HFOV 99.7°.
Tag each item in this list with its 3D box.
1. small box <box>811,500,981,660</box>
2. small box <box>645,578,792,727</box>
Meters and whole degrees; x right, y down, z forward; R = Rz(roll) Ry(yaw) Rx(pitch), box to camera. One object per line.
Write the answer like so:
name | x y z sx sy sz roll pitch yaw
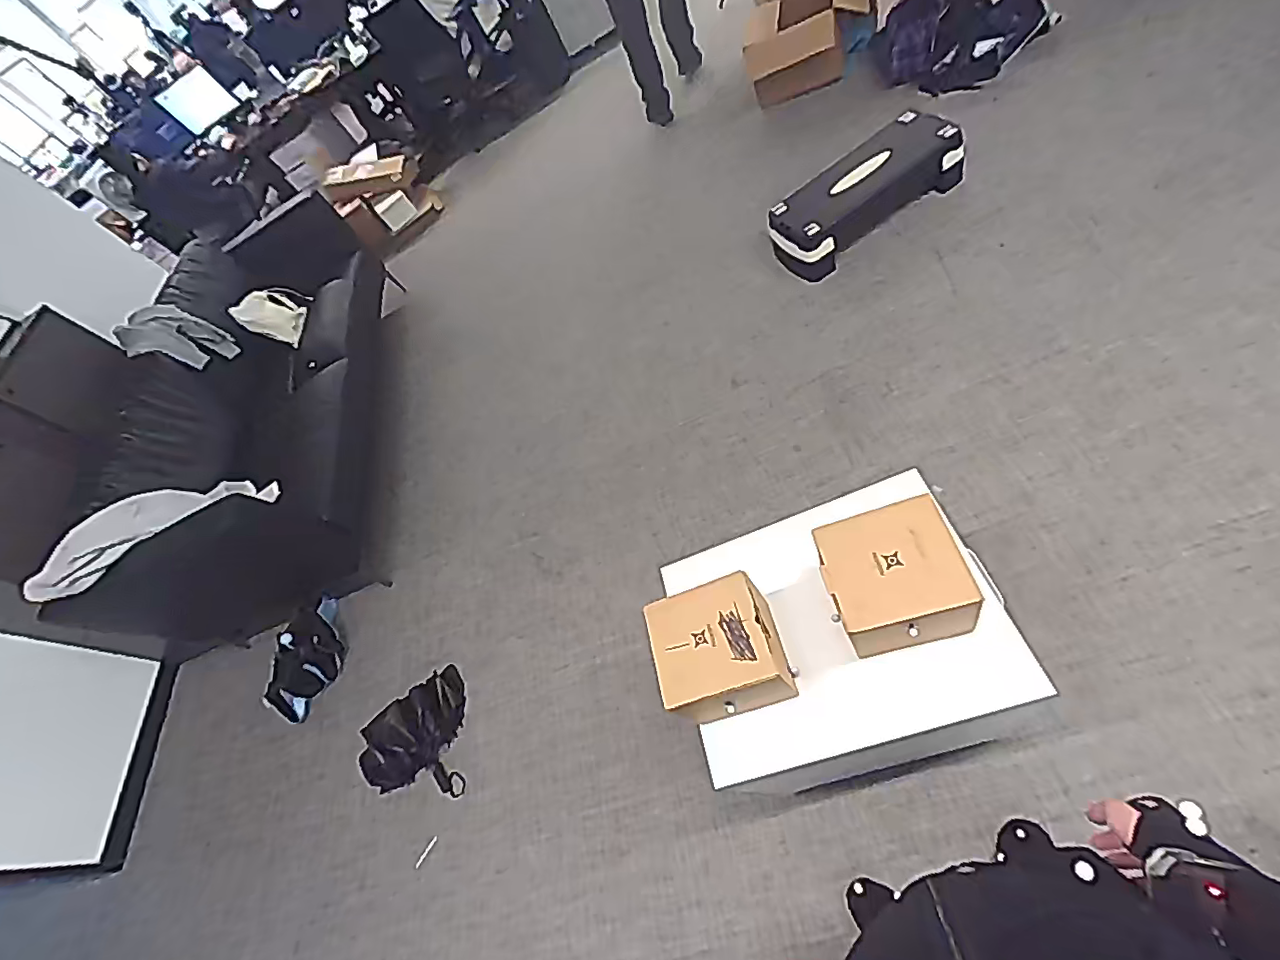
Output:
small box | 0.380 0.159 0.814 0.179 0.176 0.168 -20 55 15
small box | 0.131 0.282 0.867 0.179 0.176 0.168 -23 52 14
